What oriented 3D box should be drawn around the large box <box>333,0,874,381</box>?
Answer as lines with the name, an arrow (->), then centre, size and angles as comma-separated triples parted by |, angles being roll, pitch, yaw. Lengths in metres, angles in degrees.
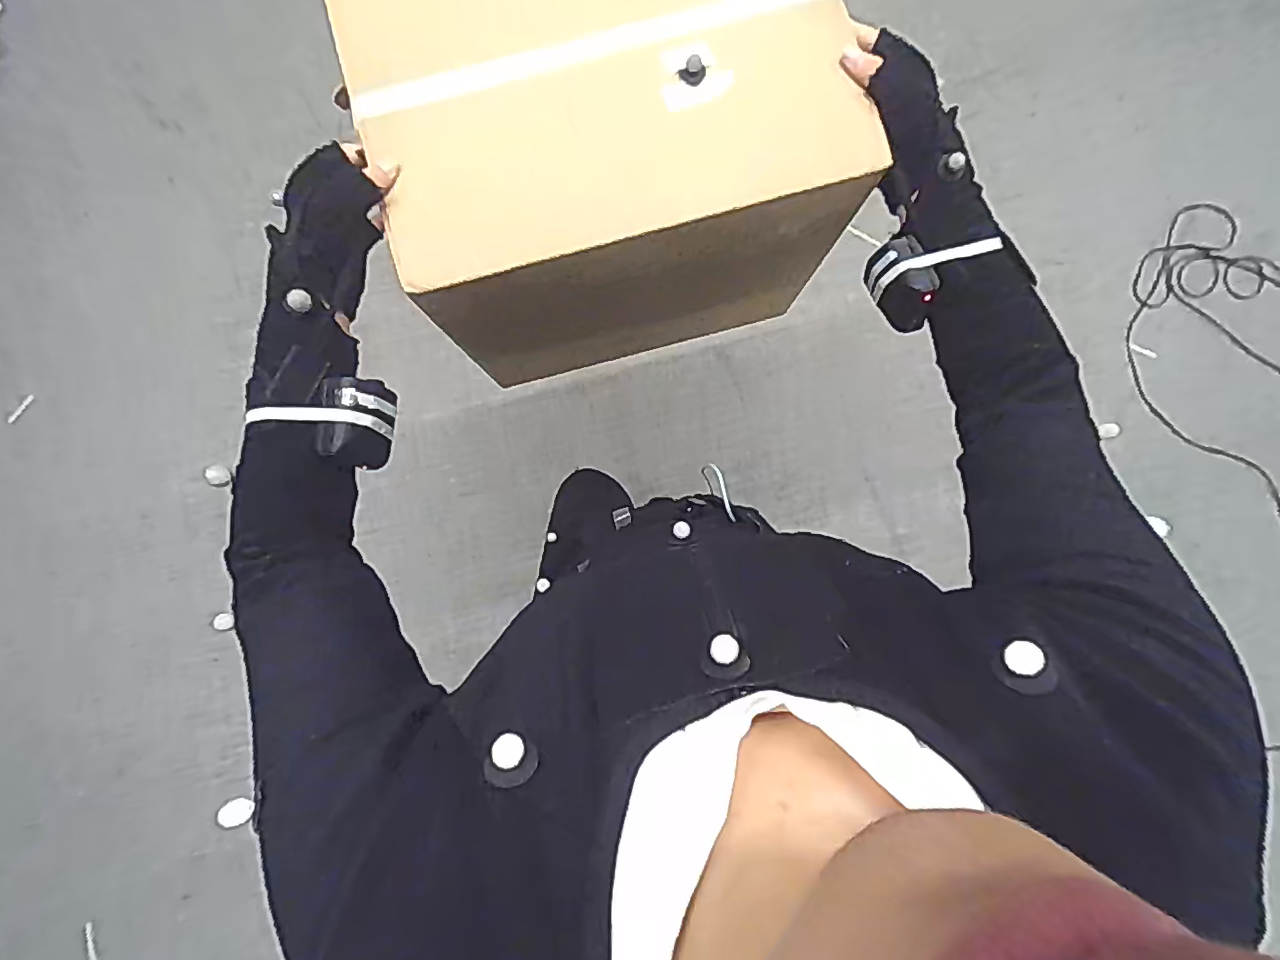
large box -> -0.039, -0.342, 0.598 | 0.408, 0.320, 0.320 | -16, 86, -2
